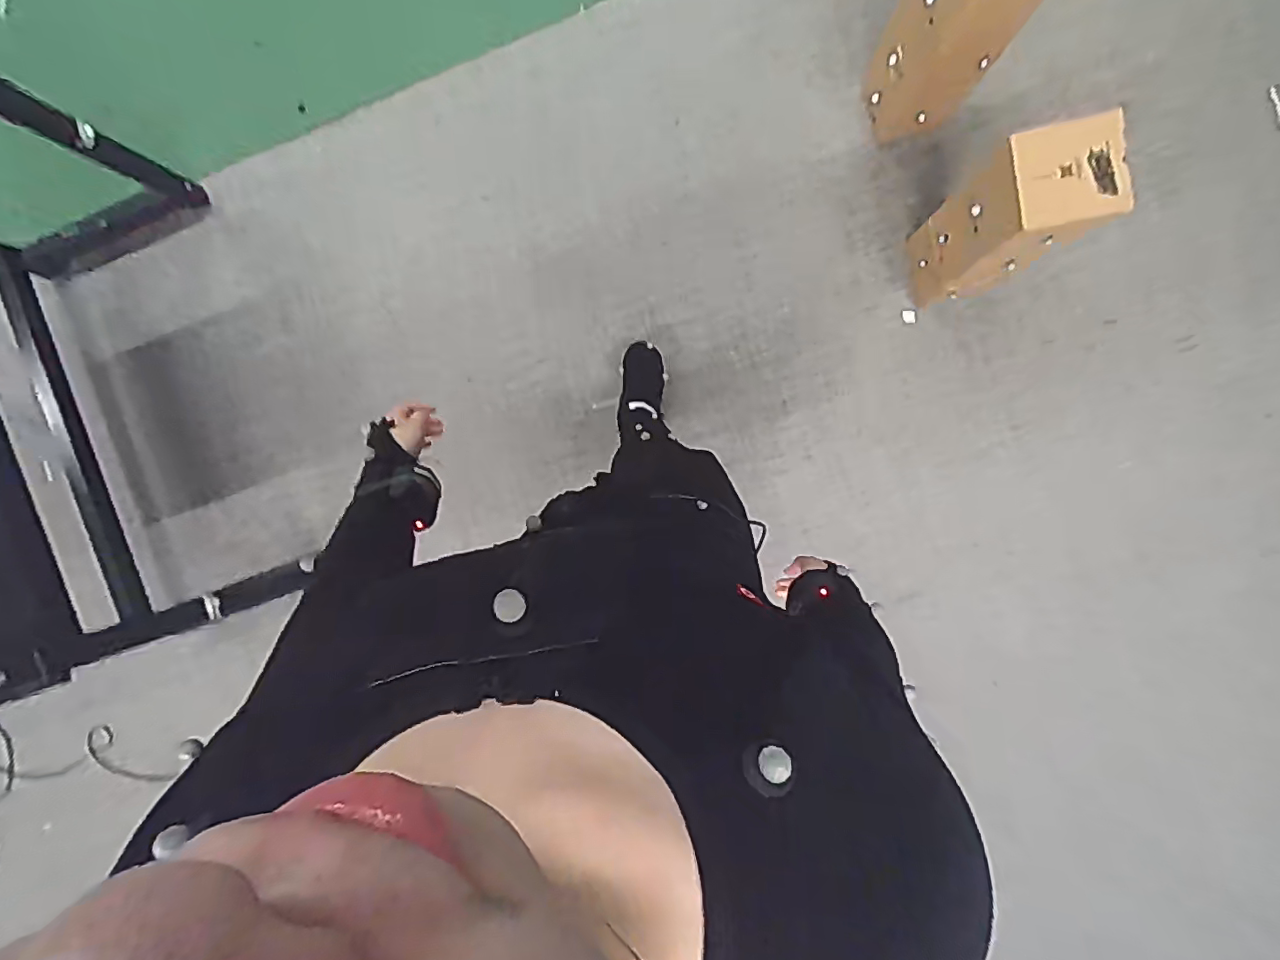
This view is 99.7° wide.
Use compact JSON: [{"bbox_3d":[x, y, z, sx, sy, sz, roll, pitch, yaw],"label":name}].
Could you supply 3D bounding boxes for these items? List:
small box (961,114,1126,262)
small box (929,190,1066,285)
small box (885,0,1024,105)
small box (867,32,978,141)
[{"bbox_3d":[0.723,-0.519,0.985,0.179,0.176,0.168,-9,93,7],"label":"small box"},{"bbox_3d":[0.747,-0.532,1.147,0.179,0.176,0.168,-11,93,7],"label":"small box"},{"bbox_3d":[0.645,-0.938,1.129,0.179,0.176,0.168,-18,91,7],"label":"small box"},{"bbox_3d":[0.661,-0.952,1.290,0.179,0.176,0.168,-15,92,7],"label":"small box"}]
